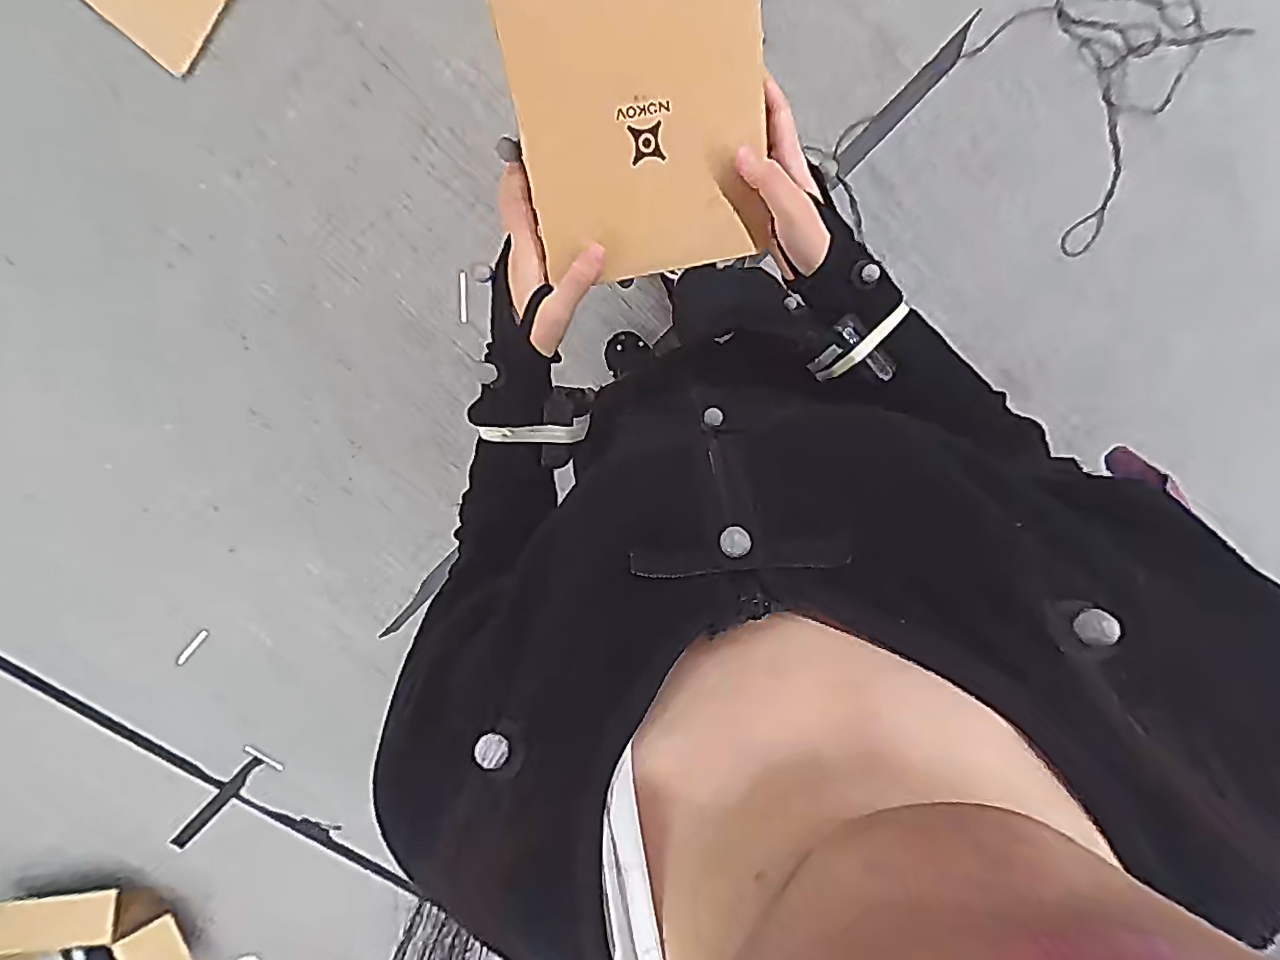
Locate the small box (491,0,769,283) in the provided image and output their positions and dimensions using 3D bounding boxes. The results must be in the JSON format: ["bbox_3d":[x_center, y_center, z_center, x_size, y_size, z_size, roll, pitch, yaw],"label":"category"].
[{"bbox_3d":[-0.007,-0.266,0.425,0.168,0.176,0.179,-12,116,-4],"label":"small box"}]
